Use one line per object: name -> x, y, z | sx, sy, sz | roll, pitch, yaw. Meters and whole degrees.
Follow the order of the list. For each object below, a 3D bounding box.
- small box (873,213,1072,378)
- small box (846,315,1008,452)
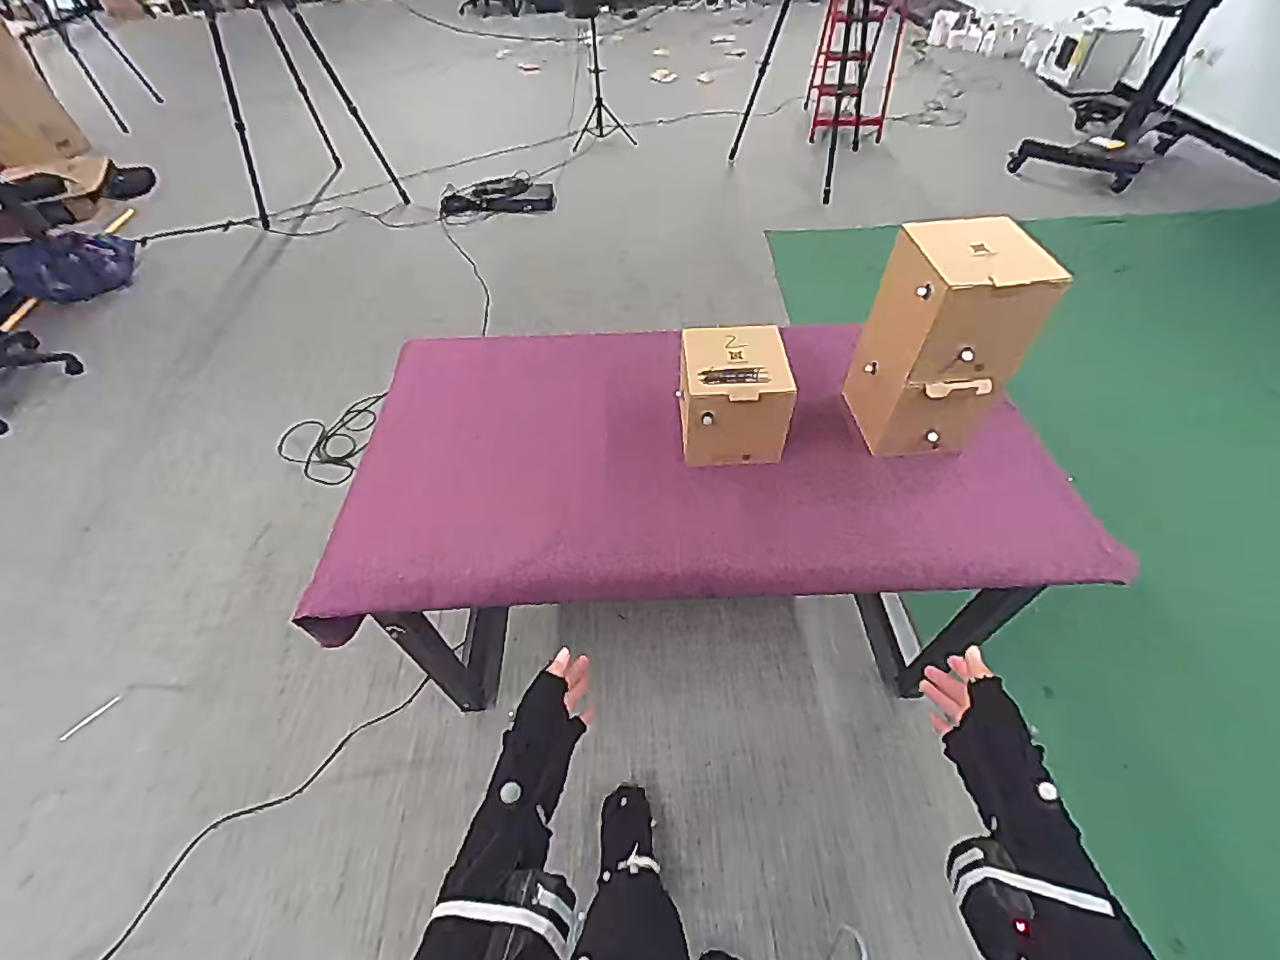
small box -> 0.477, -0.276, 0.815 | 0.168, 0.176, 0.179 | -4, 52, -2
small box -> 0.479, -0.170, 0.939 | 0.168, 0.176, 0.179 | -5, 52, -1
